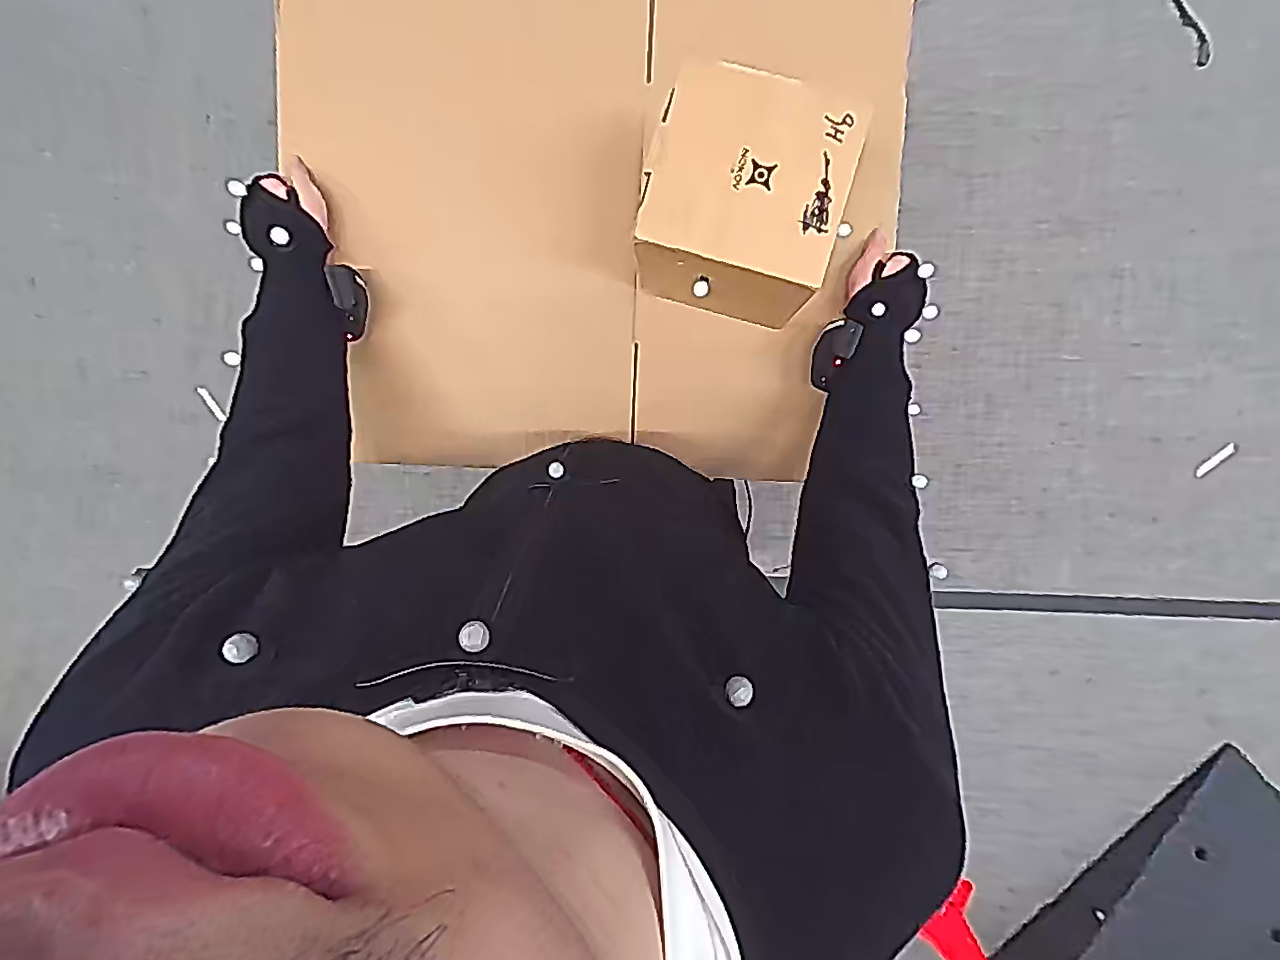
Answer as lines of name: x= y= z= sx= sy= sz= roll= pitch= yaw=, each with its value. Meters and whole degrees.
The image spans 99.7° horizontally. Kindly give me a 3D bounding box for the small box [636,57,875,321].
small box: x=0.106 y=-0.279 z=0.560 sx=0.179 sy=0.176 sz=0.168 roll=16 pitch=94 yaw=2
